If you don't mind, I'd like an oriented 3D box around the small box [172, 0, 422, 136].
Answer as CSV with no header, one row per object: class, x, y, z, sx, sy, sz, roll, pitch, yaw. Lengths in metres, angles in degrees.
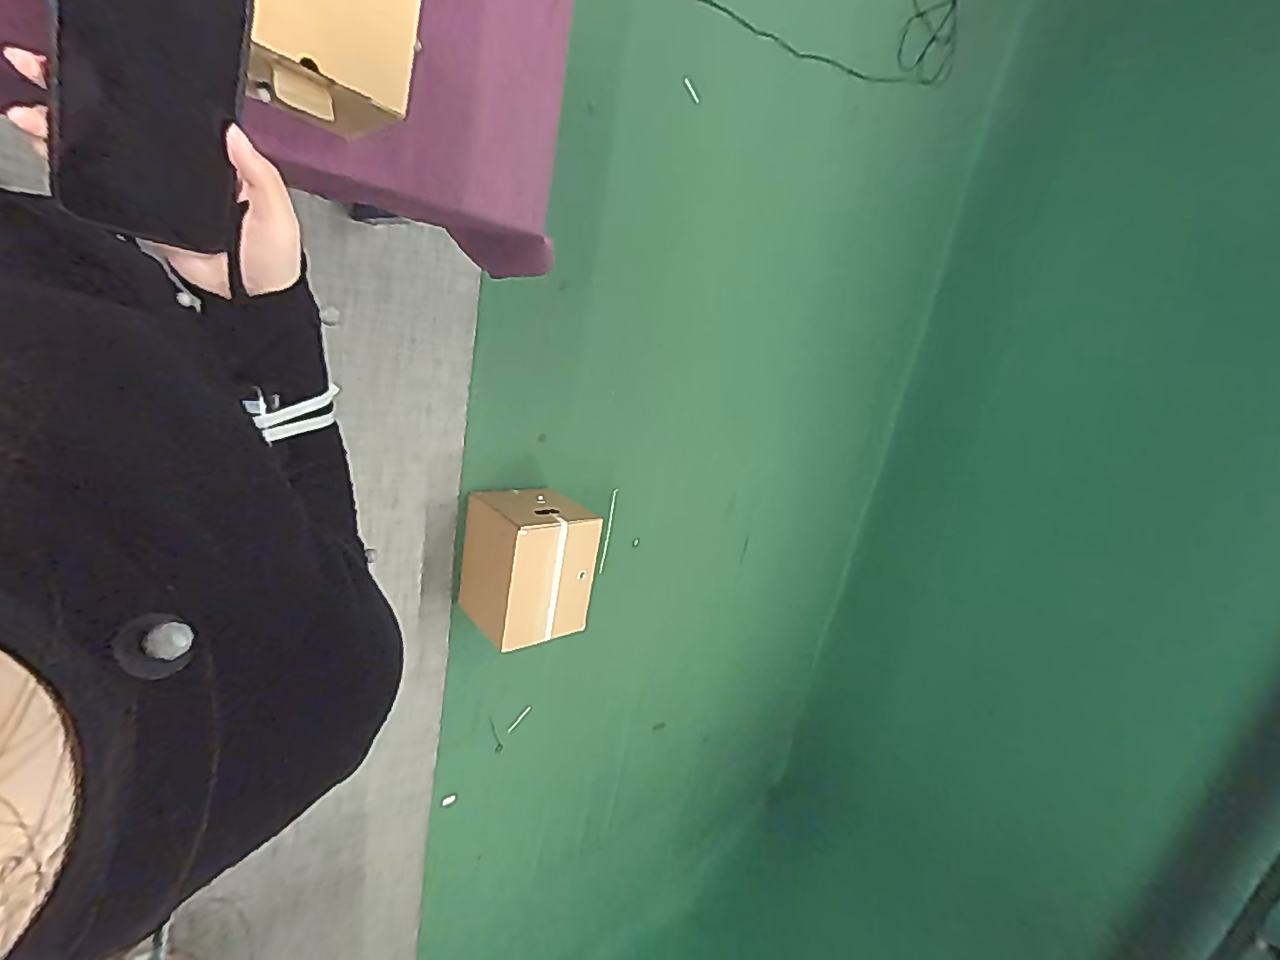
small box,-0.318,-0.454,0.501,0.168,0.176,0.179,2,107,-44
